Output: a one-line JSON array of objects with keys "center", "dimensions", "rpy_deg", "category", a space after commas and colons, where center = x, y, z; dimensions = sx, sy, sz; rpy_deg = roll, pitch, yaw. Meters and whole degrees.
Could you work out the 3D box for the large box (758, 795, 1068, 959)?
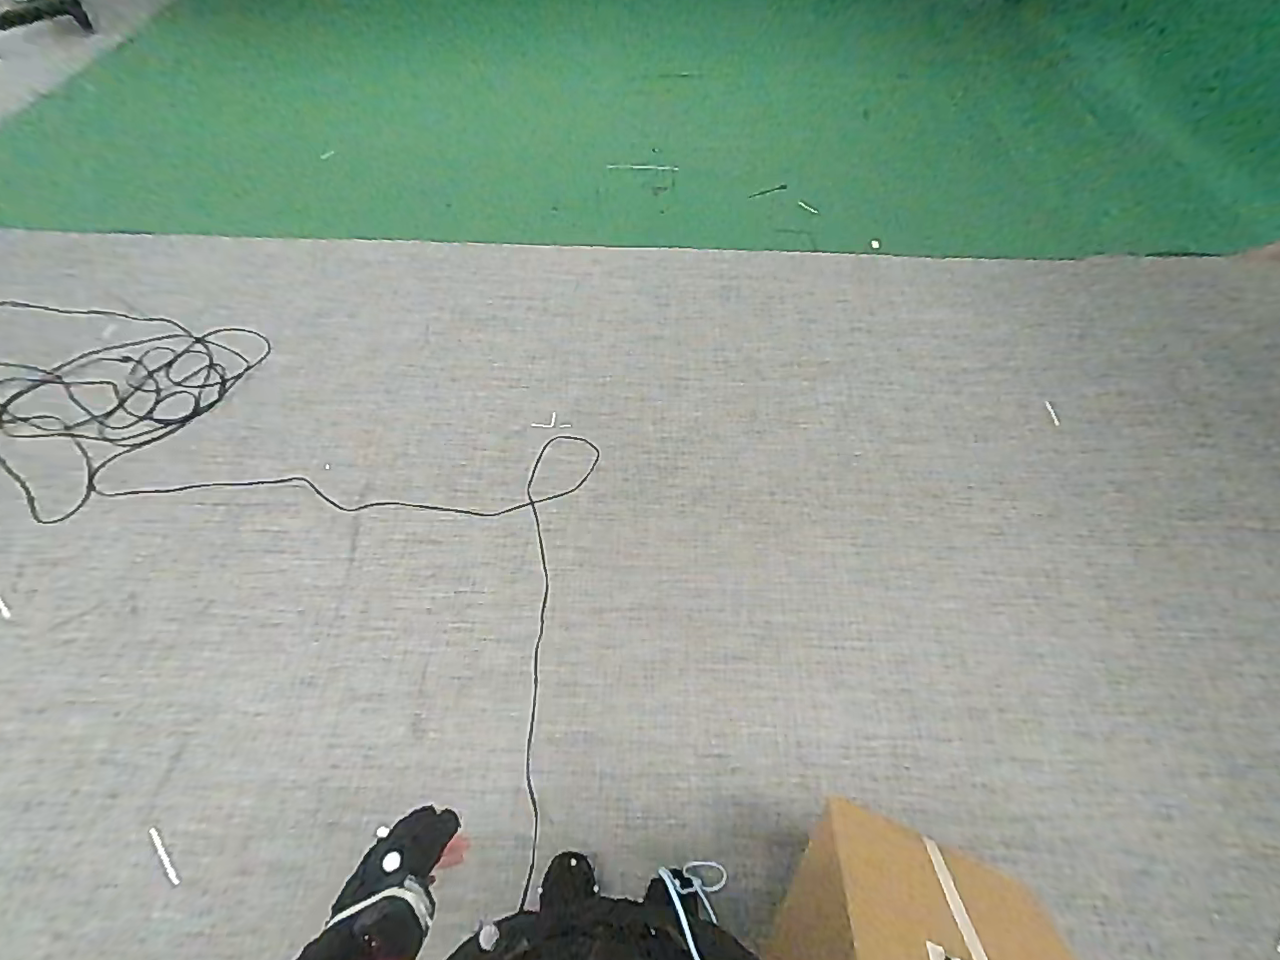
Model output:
[{"center": [0.341, 0.700, 0.659], "dimensions": [0.320, 0.408, 0.320], "rpy_deg": [21, 96, 12], "category": "large box"}]
